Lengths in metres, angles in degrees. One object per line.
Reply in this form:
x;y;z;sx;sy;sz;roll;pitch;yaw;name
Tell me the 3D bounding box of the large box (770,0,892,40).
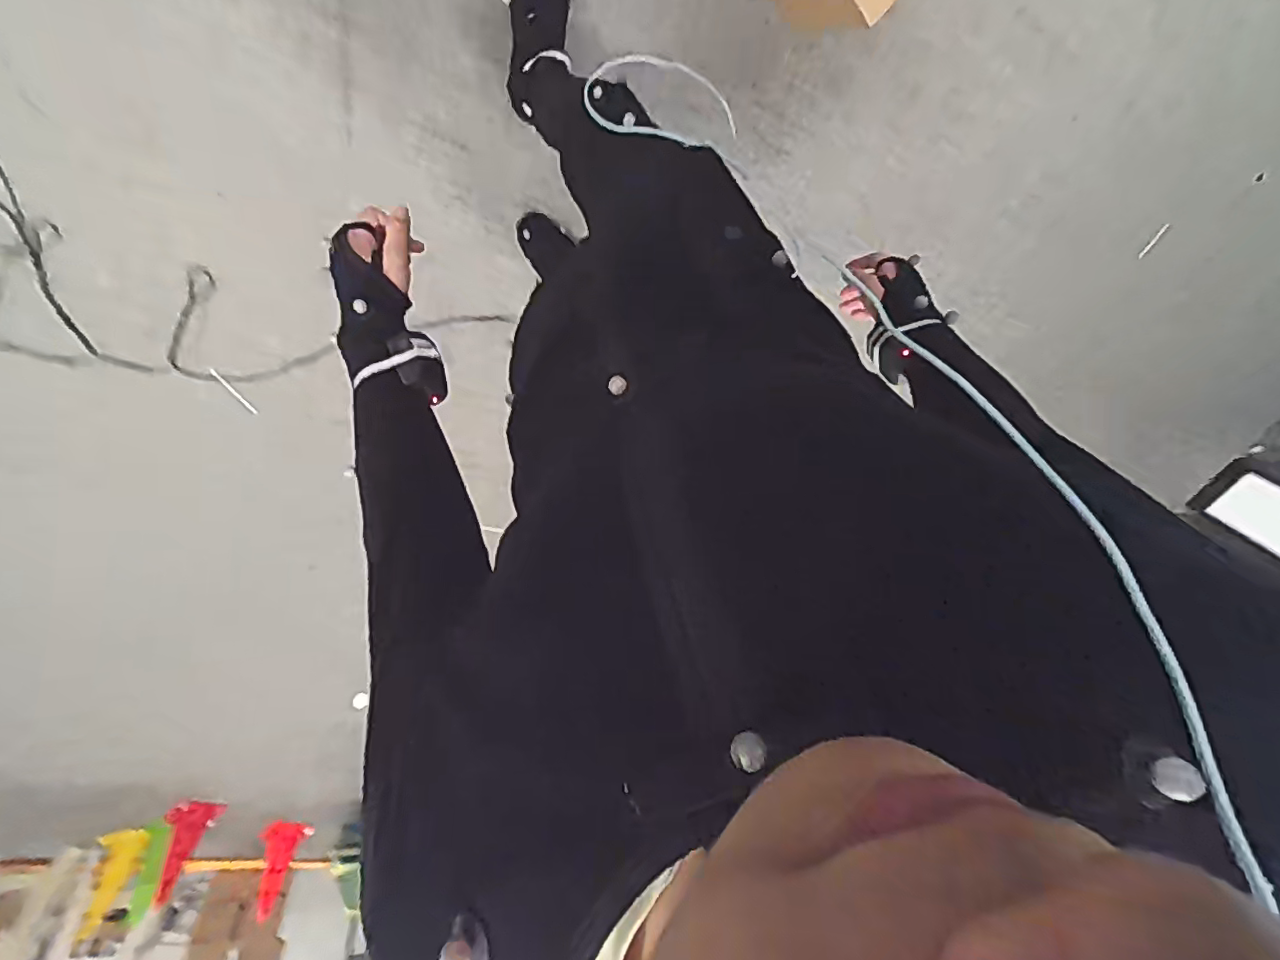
0.352;-1.119;0.977;0.408;0.320;0.320;34;111;-32;large box
